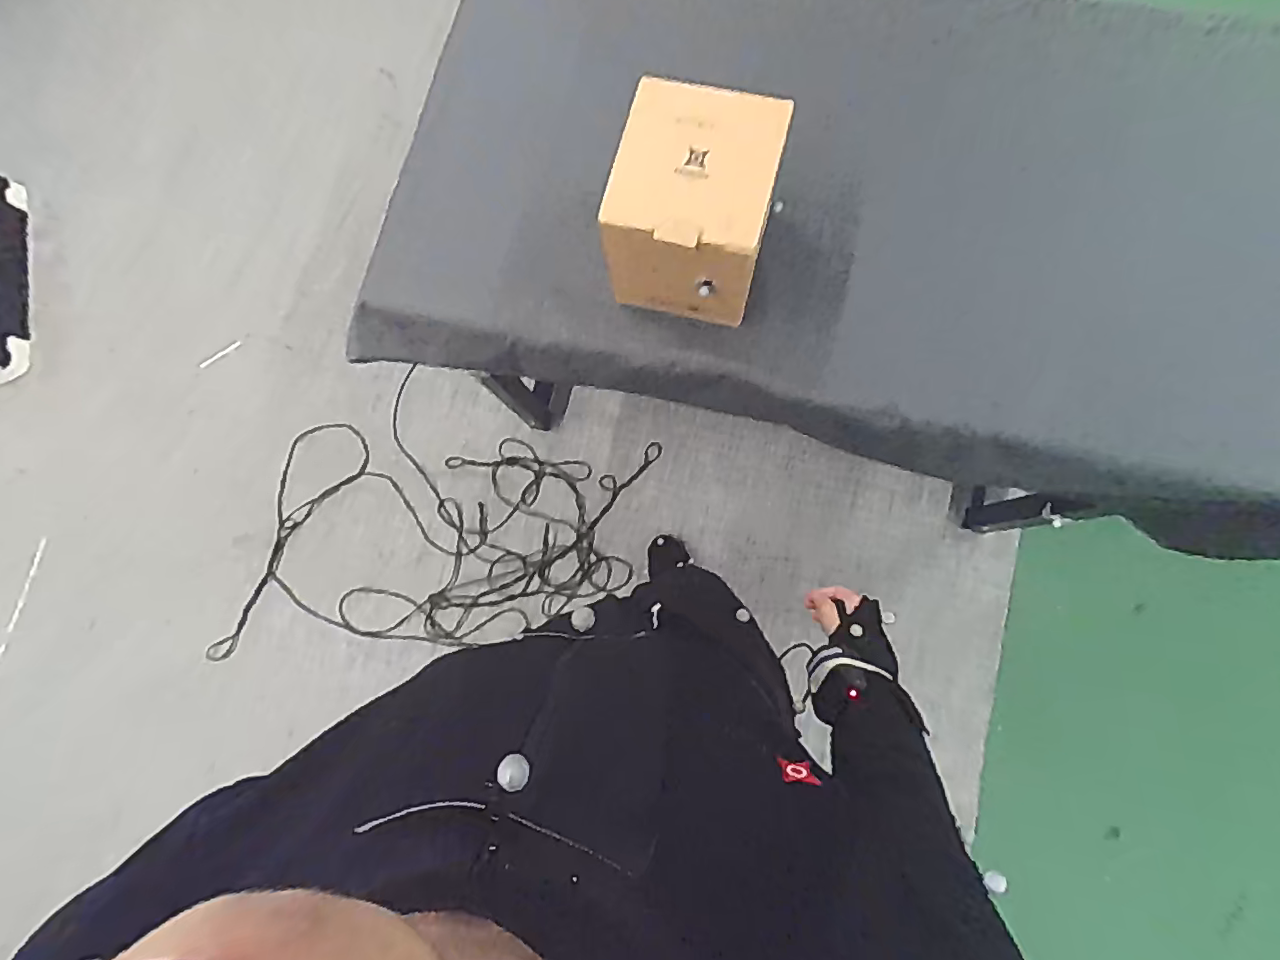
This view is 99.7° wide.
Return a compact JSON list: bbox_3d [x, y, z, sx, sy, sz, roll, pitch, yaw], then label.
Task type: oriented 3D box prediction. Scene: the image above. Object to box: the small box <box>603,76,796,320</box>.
[{"bbox_3d":[0.067,-0.312,0.629,0.168,0.176,0.179,14,81,6],"label":"small box"}]
